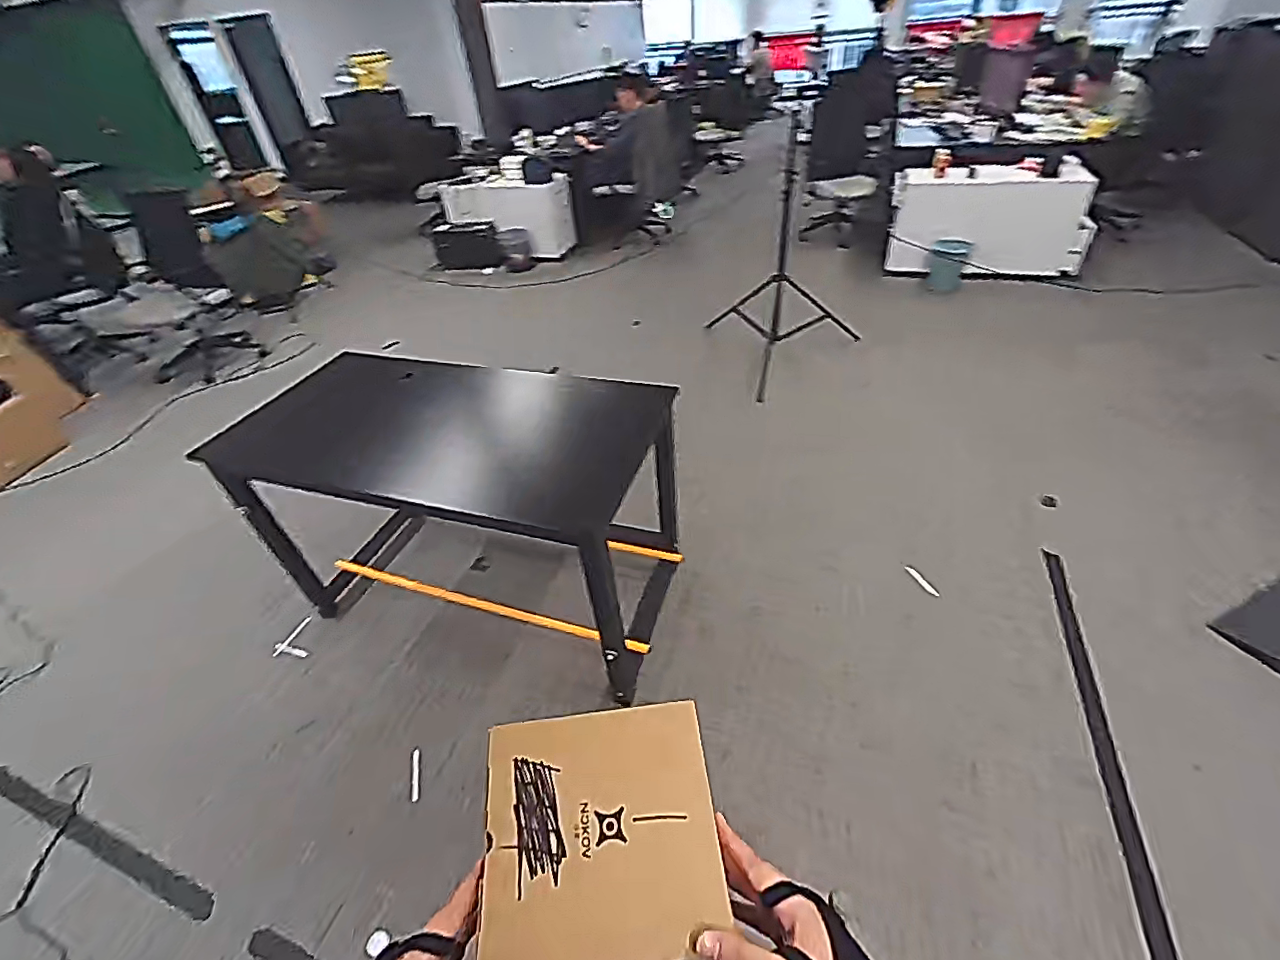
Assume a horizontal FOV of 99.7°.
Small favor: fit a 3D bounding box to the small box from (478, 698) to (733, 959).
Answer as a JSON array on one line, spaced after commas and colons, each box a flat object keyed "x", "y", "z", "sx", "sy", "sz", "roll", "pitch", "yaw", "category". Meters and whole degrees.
[{"x": -0.027, "y": 0.311, "z": 0.471, "sx": 0.179, "sy": 0.176, "sz": 0.168, "roll": -7, "pitch": 50, "yaw": -3, "category": "small box"}]
